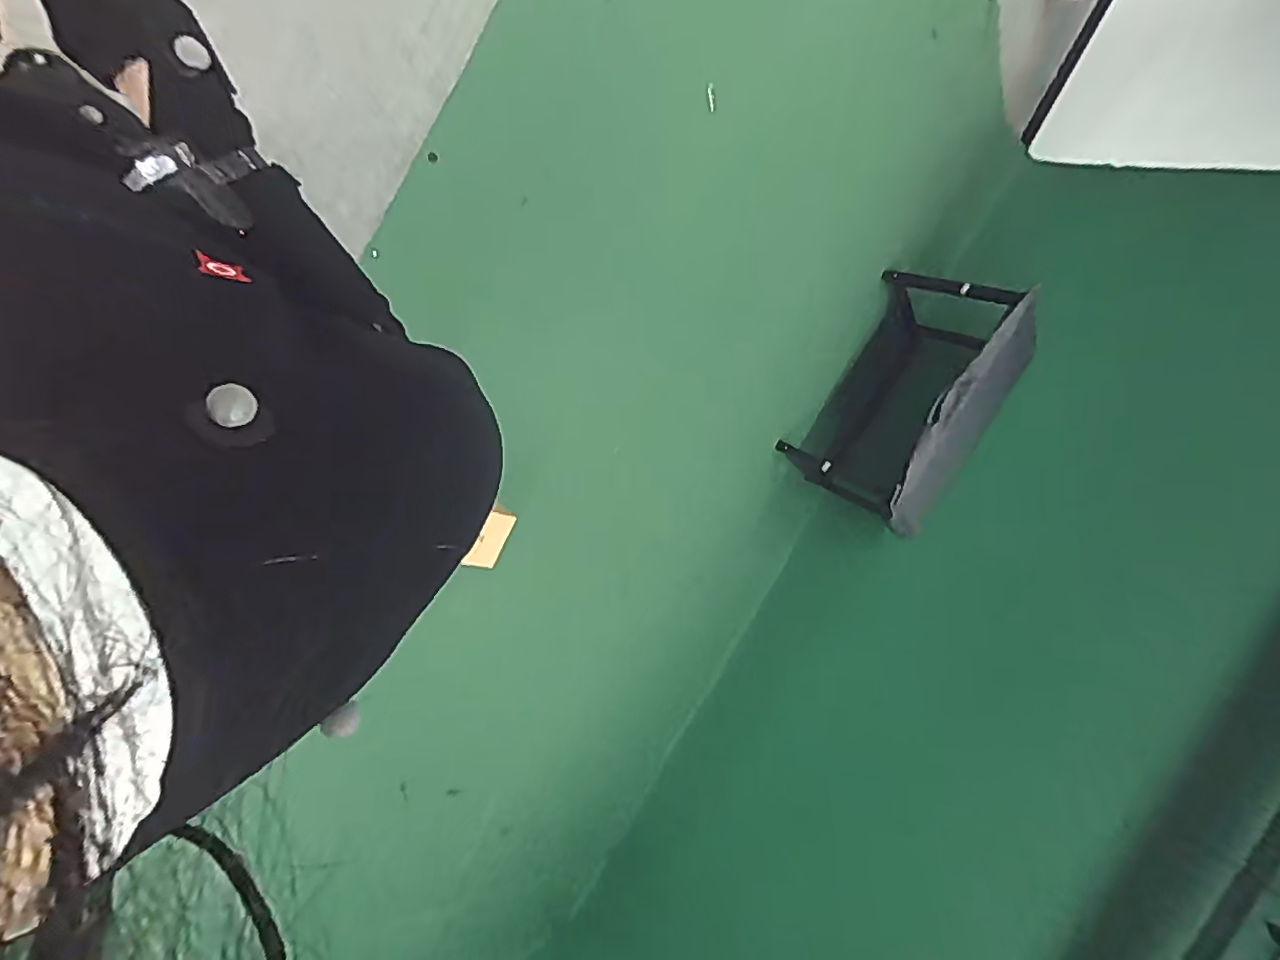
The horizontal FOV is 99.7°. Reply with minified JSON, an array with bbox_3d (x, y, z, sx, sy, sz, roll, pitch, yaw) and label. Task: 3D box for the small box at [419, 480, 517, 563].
[{"bbox_3d":[-0.491,0.115,1.536,0.179,0.176,0.168,21,99,-50],"label":"small box"}]
